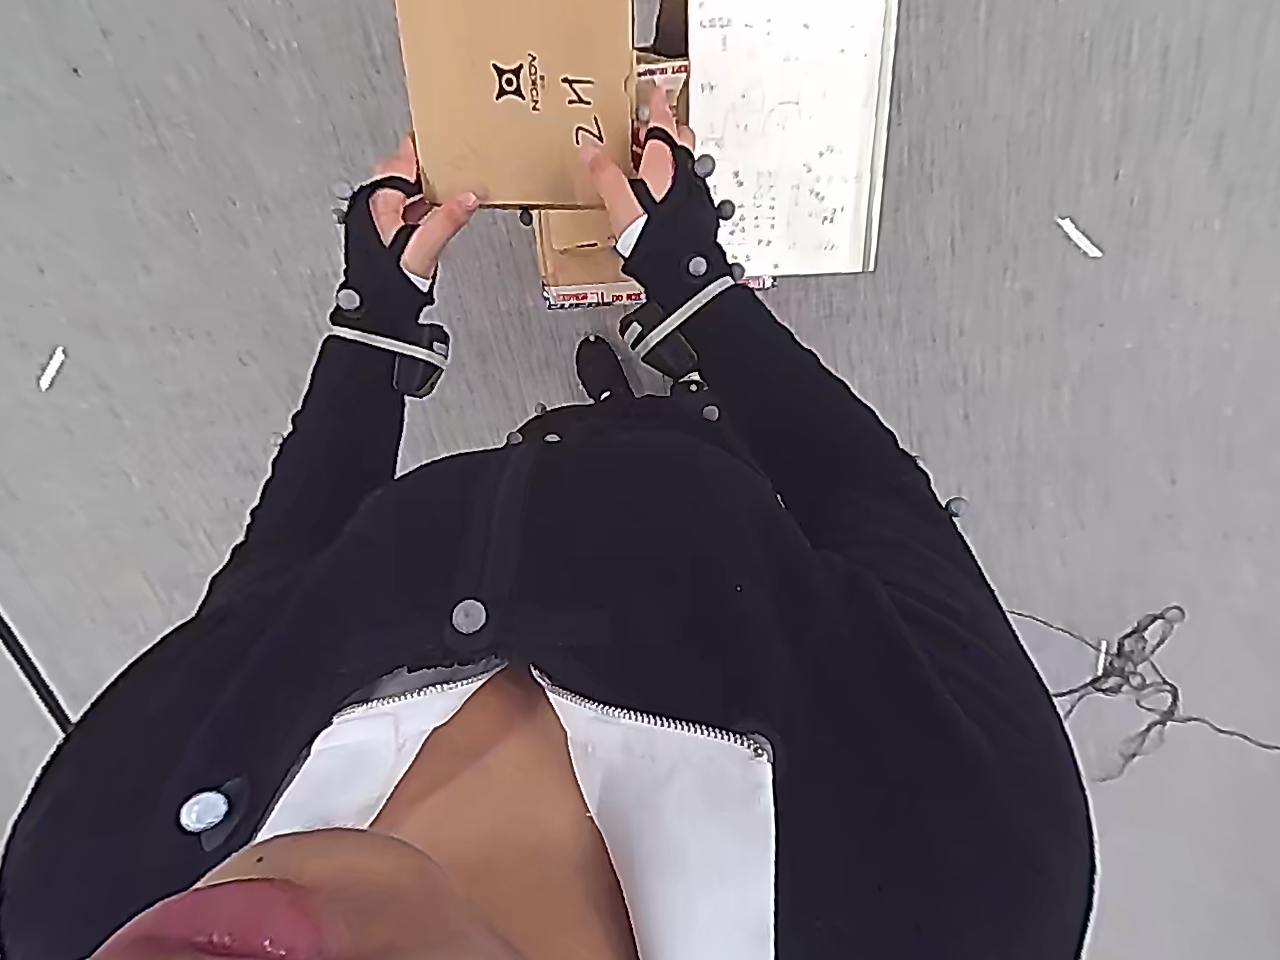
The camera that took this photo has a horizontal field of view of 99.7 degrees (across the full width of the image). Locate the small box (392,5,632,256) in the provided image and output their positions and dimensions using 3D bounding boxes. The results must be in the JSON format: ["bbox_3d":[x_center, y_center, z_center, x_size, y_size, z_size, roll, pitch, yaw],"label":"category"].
[{"bbox_3d":[-0.097,-0.299,0.497,0.179,0.176,0.168,0,115,-2],"label":"small box"}]
